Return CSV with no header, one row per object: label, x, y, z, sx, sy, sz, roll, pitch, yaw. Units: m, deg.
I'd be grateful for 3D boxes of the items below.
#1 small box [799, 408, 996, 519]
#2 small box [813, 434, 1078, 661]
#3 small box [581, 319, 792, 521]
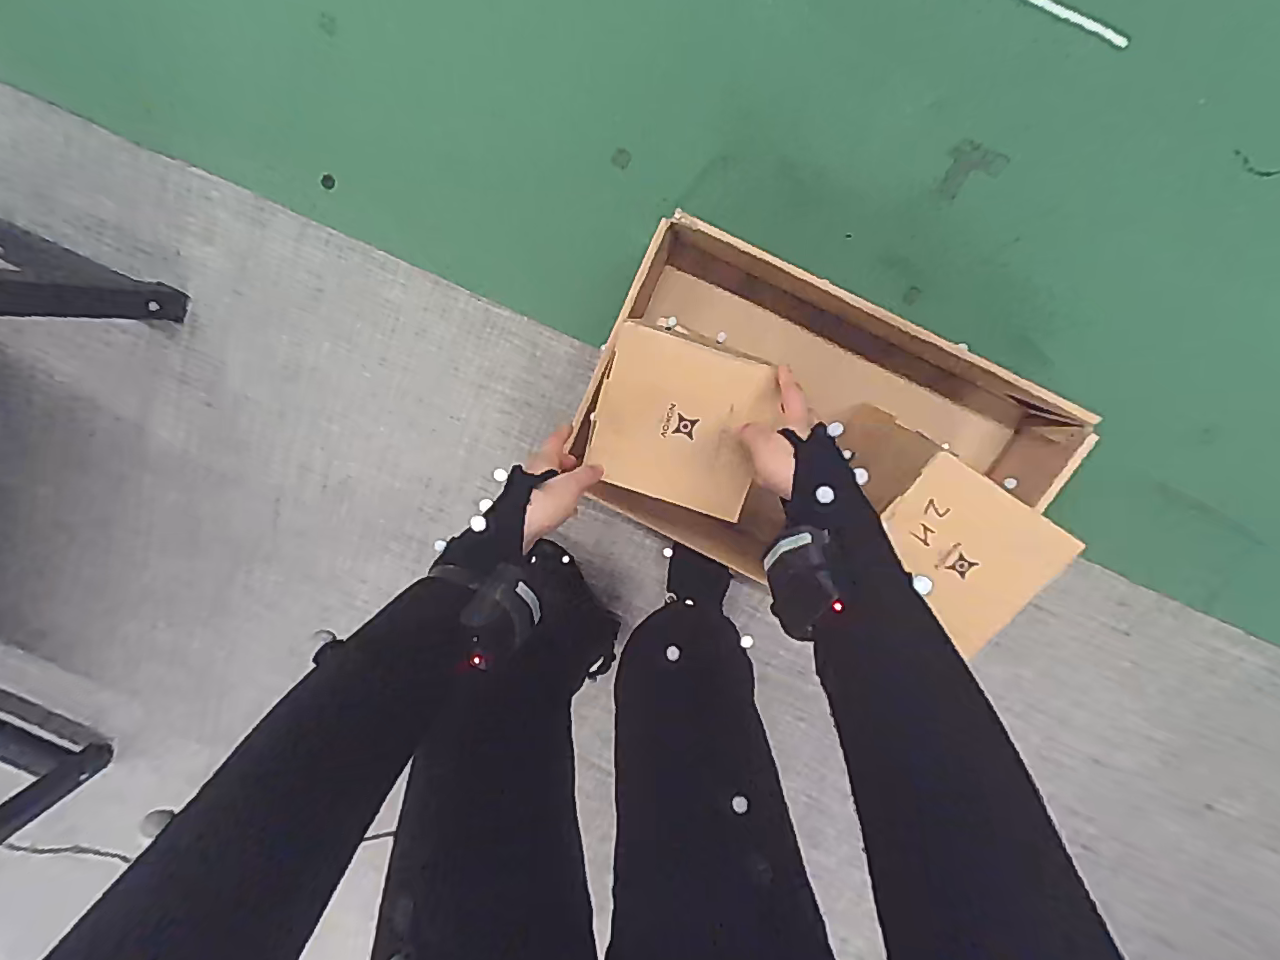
small box,0.351,0.015,0.782,0.168,0.176,0.179,34,108,-3
small box,0.330,0.064,0.628,0.179,0.176,0.168,34,106,-2
small box,0.050,-0.078,0.621,0.179,0.176,0.168,18,108,0
